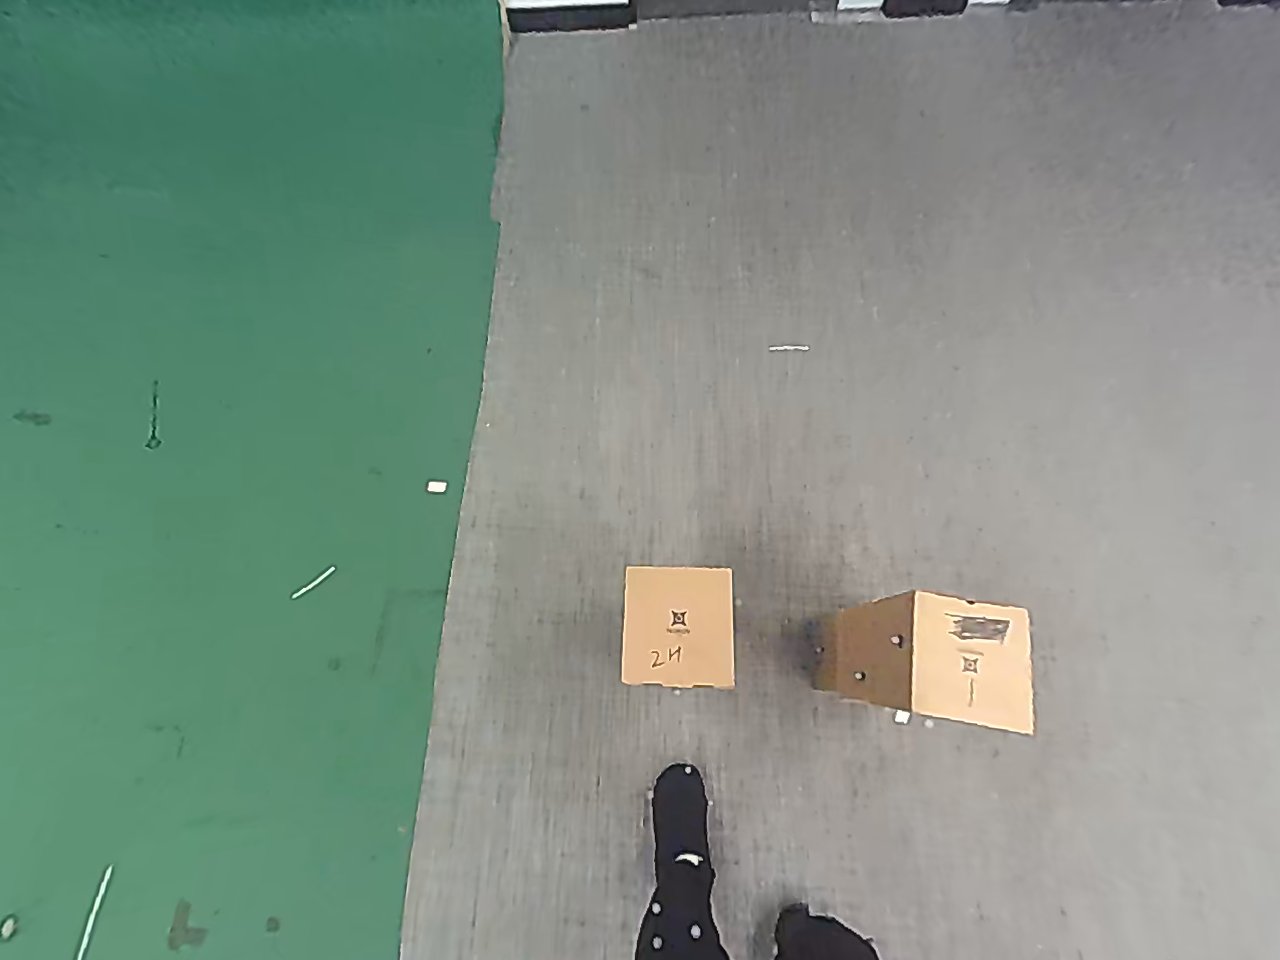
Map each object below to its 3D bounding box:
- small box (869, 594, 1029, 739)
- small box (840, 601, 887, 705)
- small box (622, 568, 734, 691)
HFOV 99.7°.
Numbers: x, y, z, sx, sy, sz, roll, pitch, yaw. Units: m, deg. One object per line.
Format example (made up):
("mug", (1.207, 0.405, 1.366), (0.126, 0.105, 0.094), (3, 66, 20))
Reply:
("small box", (0.477, 0.290, 0.856), (0.168, 0.176, 0.179), (9, 73, 6))
("small box", (0.485, 0.335, 1.014), (0.168, 0.176, 0.179), (8, 72, 5))
("small box", (0.064, 0.248, 0.889), (0.168, 0.176, 0.179), (1, 71, 5))
